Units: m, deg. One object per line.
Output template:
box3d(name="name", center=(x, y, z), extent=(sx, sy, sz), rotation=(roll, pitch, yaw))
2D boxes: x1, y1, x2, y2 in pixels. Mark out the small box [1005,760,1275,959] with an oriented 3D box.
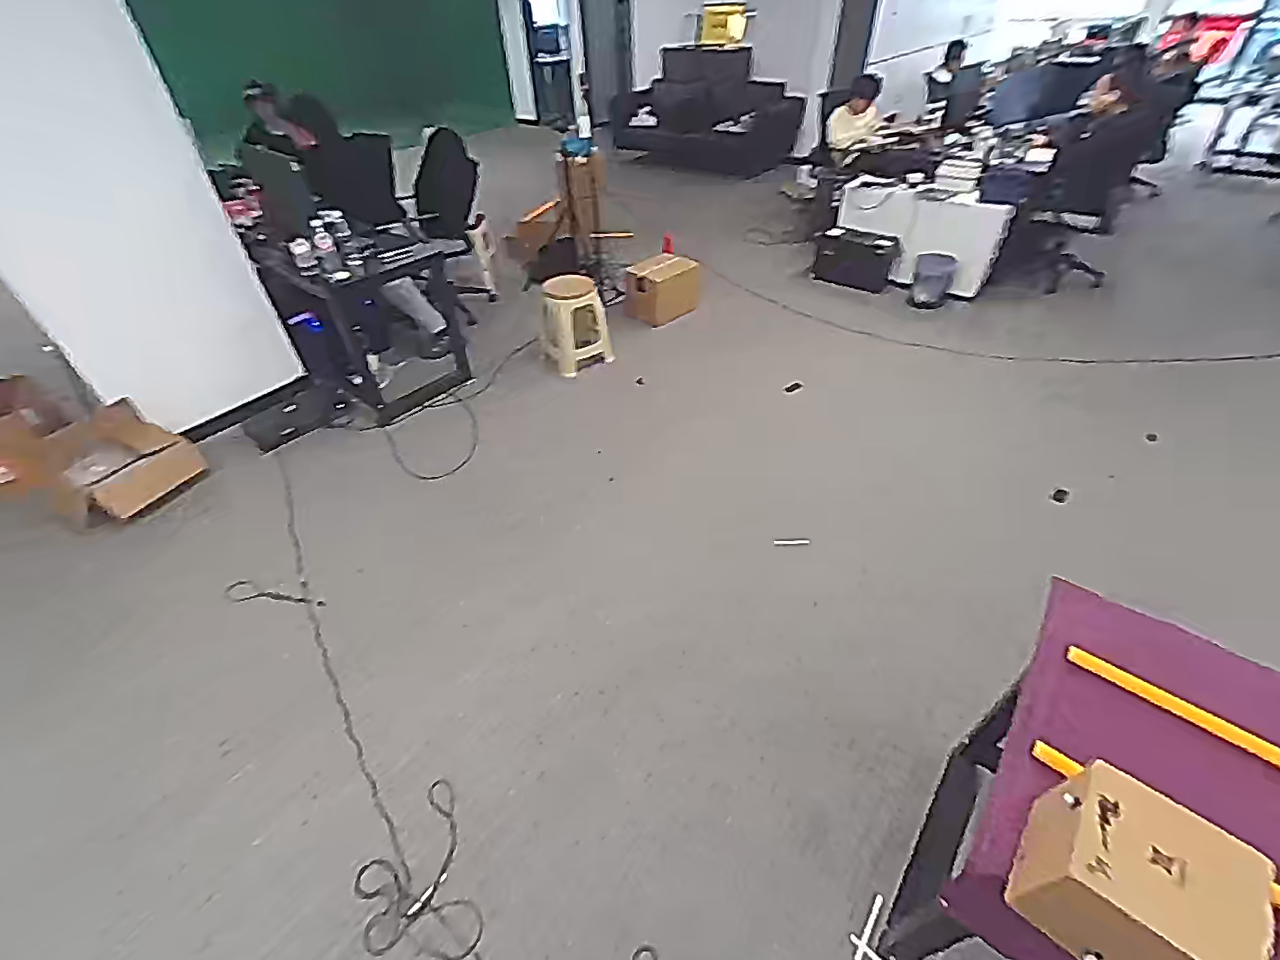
box3d(name="small box", center=(0.599, 0.495, 0.664), extent=(0.179, 0.176, 0.168), rotation=(31, 52, 29))
